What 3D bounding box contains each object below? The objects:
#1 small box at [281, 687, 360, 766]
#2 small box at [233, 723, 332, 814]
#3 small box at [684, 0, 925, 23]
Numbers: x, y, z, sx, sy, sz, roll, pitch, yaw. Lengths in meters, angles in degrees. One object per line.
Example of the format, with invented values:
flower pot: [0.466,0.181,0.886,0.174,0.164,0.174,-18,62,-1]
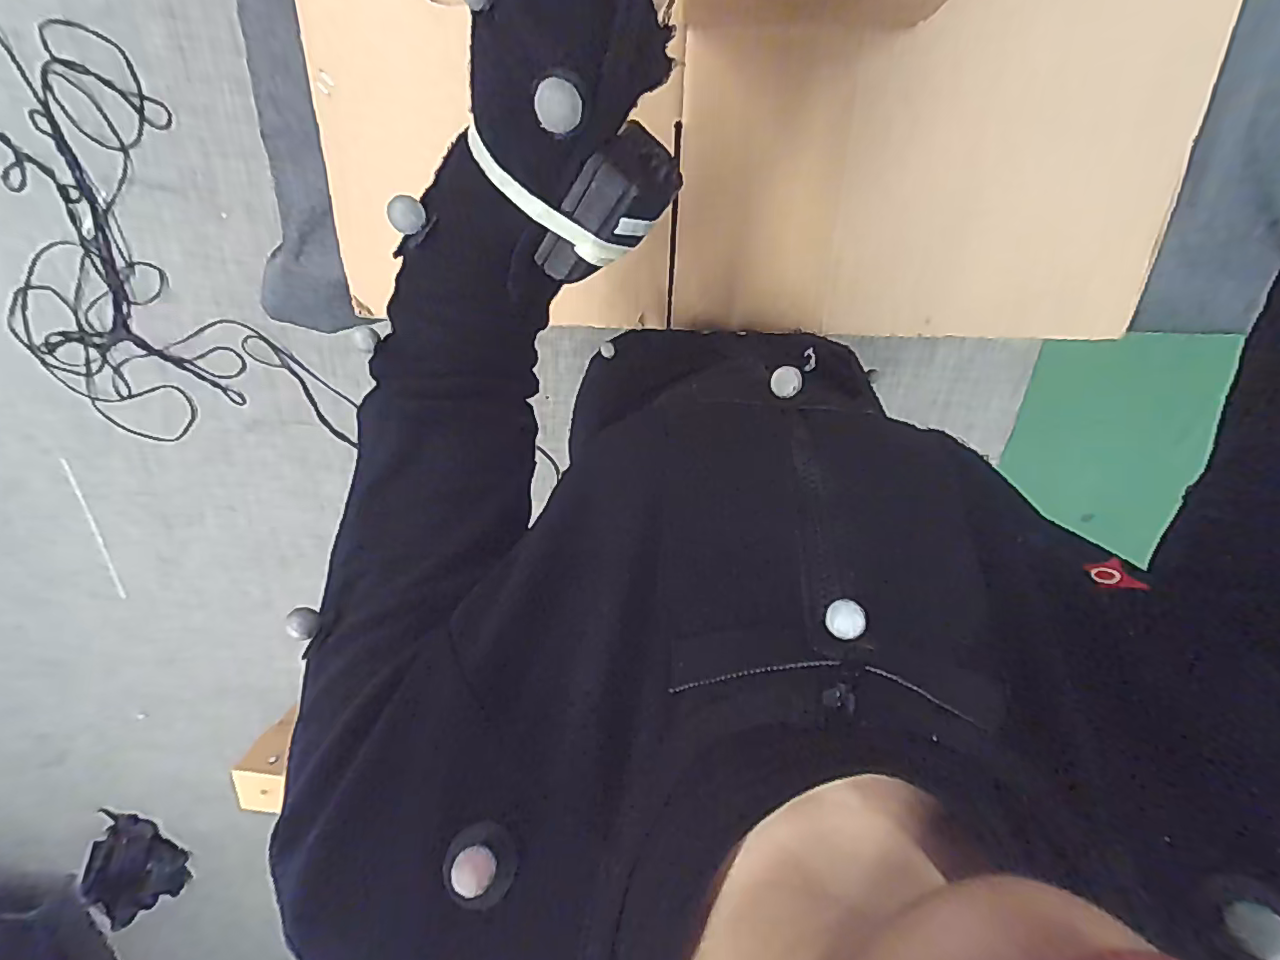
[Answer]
small box: [-1.040,0.803,1.771,0.179,0.176,0.168,7,114,-1]
small box: [-1.060,0.857,1.617,0.179,0.176,0.168,7,114,0]
small box: [0.112,-0.370,0.277,0.179,0.176,0.168,2,111,4]
